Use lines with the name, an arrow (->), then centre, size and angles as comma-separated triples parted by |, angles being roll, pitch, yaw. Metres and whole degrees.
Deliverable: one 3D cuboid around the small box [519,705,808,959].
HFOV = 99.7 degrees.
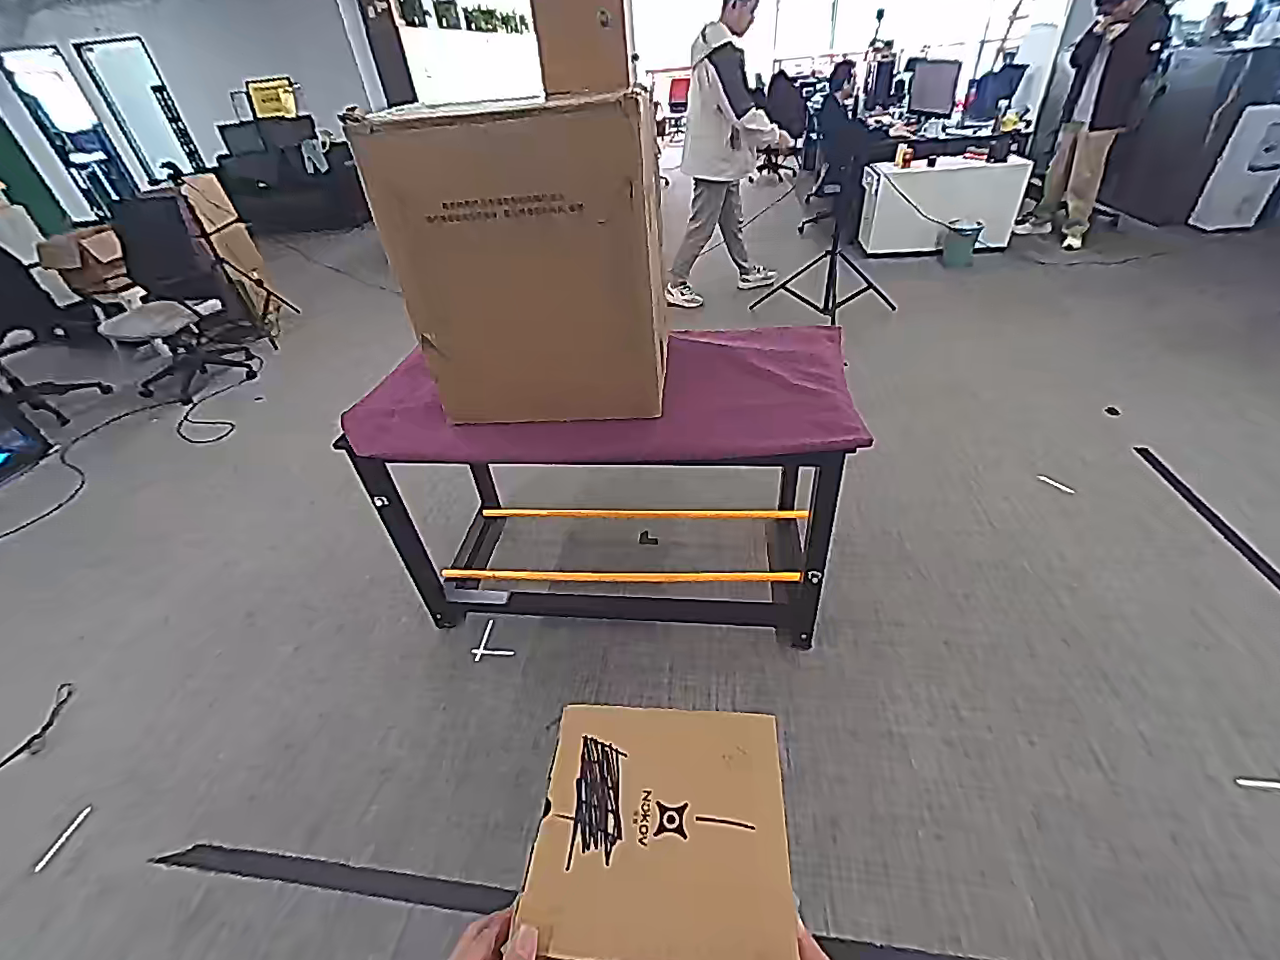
small box -> 0.026, 0.302, 0.426 | 0.179, 0.176, 0.168 | 0, 35, 7
